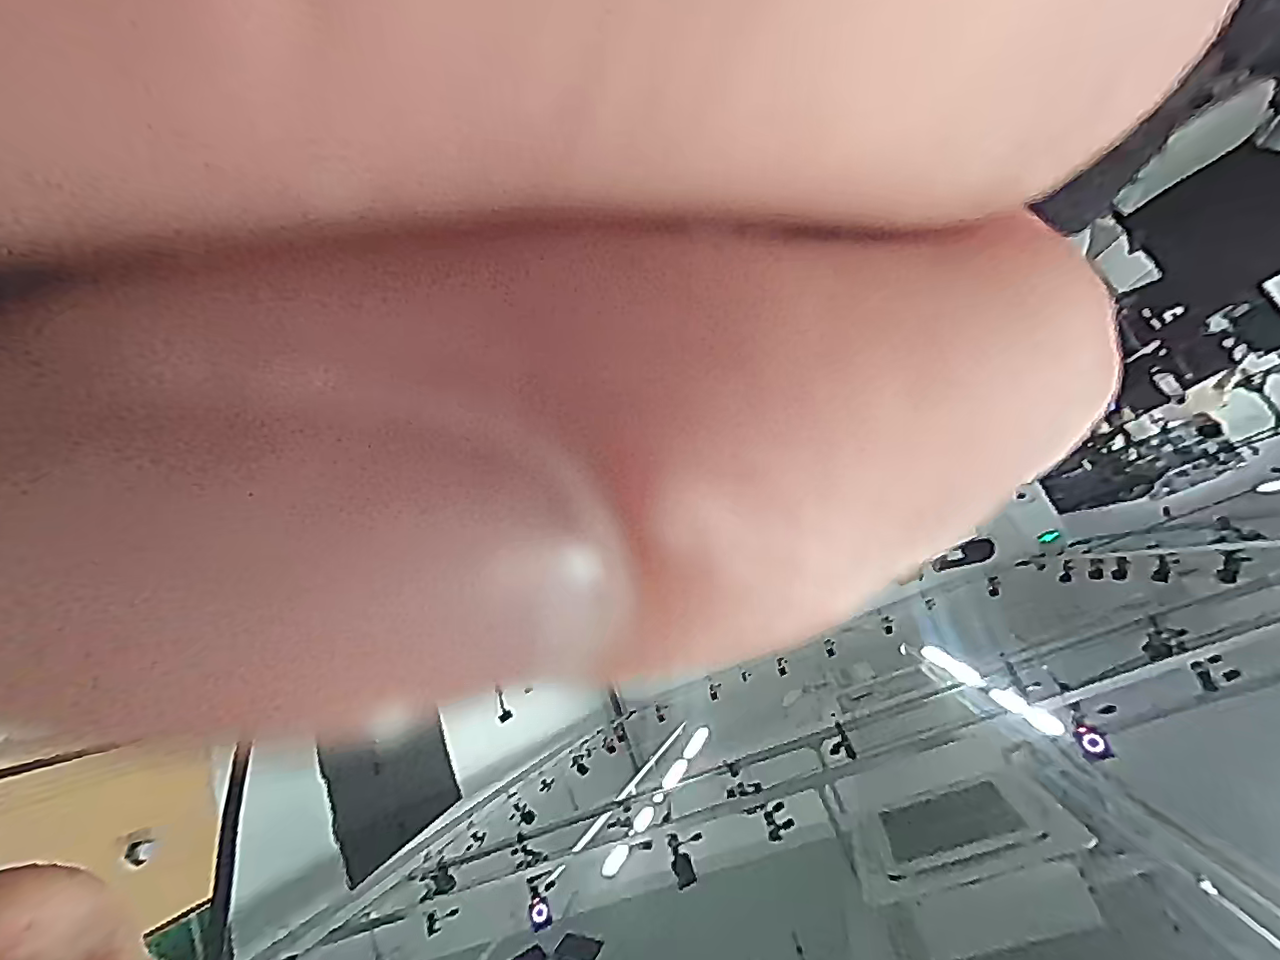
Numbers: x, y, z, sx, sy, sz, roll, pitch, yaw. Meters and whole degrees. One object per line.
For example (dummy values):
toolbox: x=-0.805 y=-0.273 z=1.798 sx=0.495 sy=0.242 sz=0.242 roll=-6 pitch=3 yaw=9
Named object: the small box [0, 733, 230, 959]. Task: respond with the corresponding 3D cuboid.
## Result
small box: x=-0.546 y=0.365 z=0.509 sx=0.168 sy=0.176 sz=0.179 roll=-27 pitch=166 yaw=12
